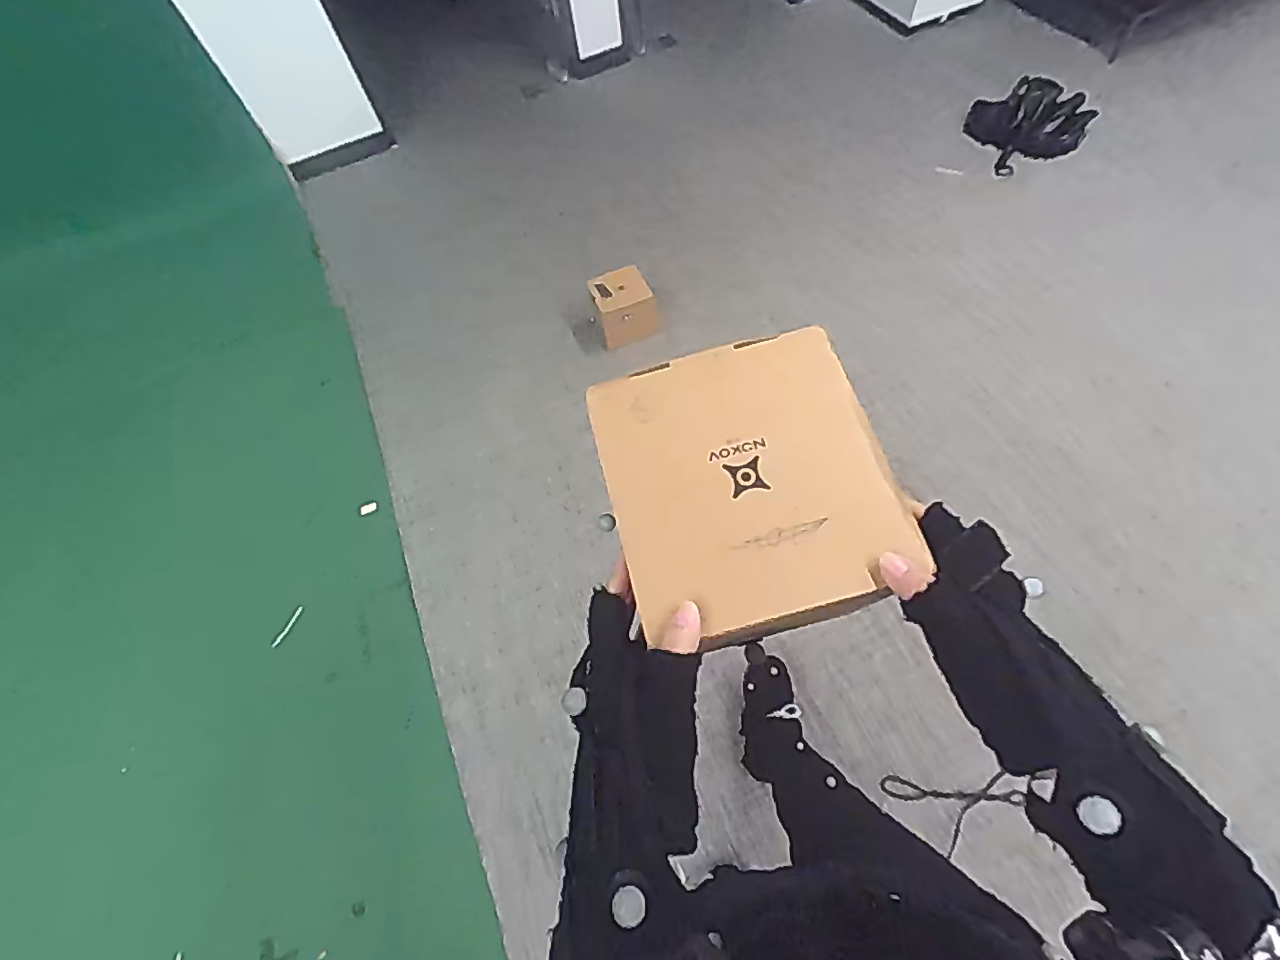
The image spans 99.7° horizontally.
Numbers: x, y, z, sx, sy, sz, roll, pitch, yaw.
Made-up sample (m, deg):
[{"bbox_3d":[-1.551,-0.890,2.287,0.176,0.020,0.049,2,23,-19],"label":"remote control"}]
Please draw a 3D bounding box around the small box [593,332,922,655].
[{"bbox_3d":[0.070,0.023,0.412,0.168,0.176,0.179,-15,68,-1],"label":"small box"}]

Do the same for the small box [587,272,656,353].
[{"bbox_3d":[-0.058,-0.551,1.797,0.179,0.176,0.168,-22,62,-6],"label":"small box"}]
